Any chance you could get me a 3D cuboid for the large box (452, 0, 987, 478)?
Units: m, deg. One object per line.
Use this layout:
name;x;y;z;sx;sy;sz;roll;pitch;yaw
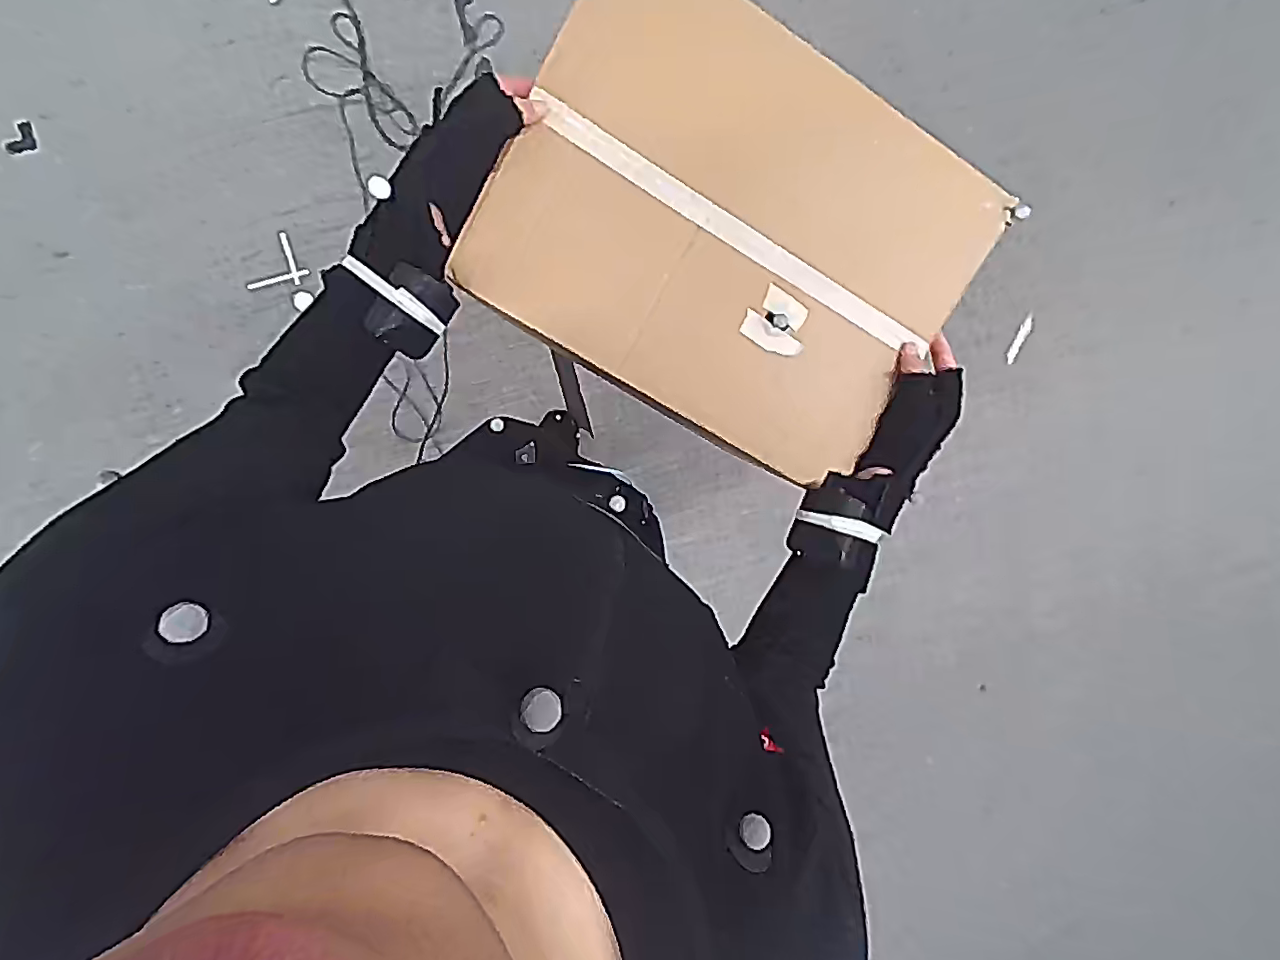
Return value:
large box;0.062;-0.245;0.625;0.408;0.320;0.320;27;97;-11
